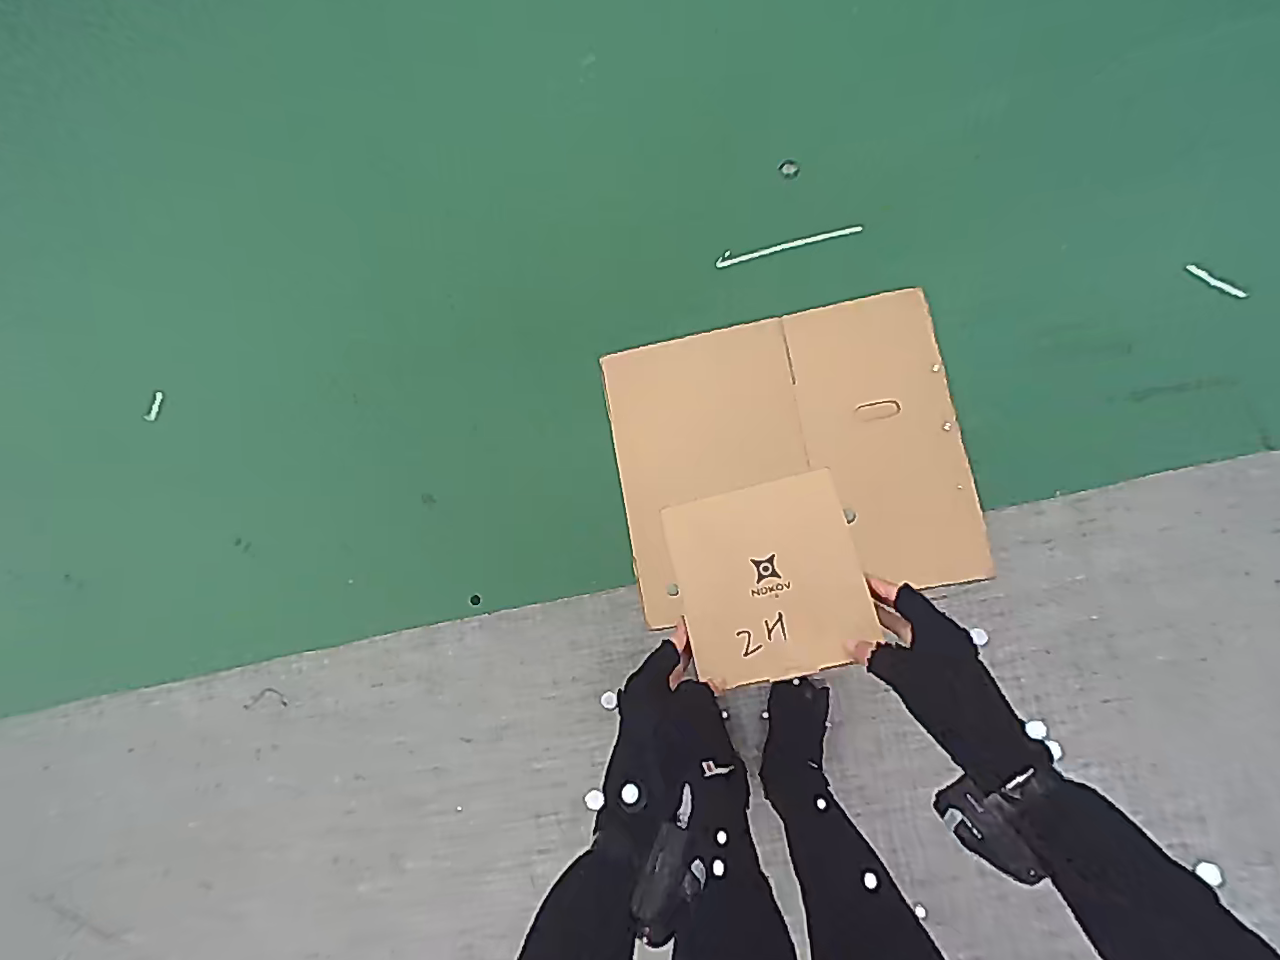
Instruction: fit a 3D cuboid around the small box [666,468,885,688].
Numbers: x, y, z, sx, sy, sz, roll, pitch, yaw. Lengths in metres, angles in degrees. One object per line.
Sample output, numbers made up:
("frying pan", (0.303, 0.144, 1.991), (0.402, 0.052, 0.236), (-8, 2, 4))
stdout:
("small box", (0.131, 0.106, 0.572), (0.168, 0.176, 0.179), (-14, 76, 8))
